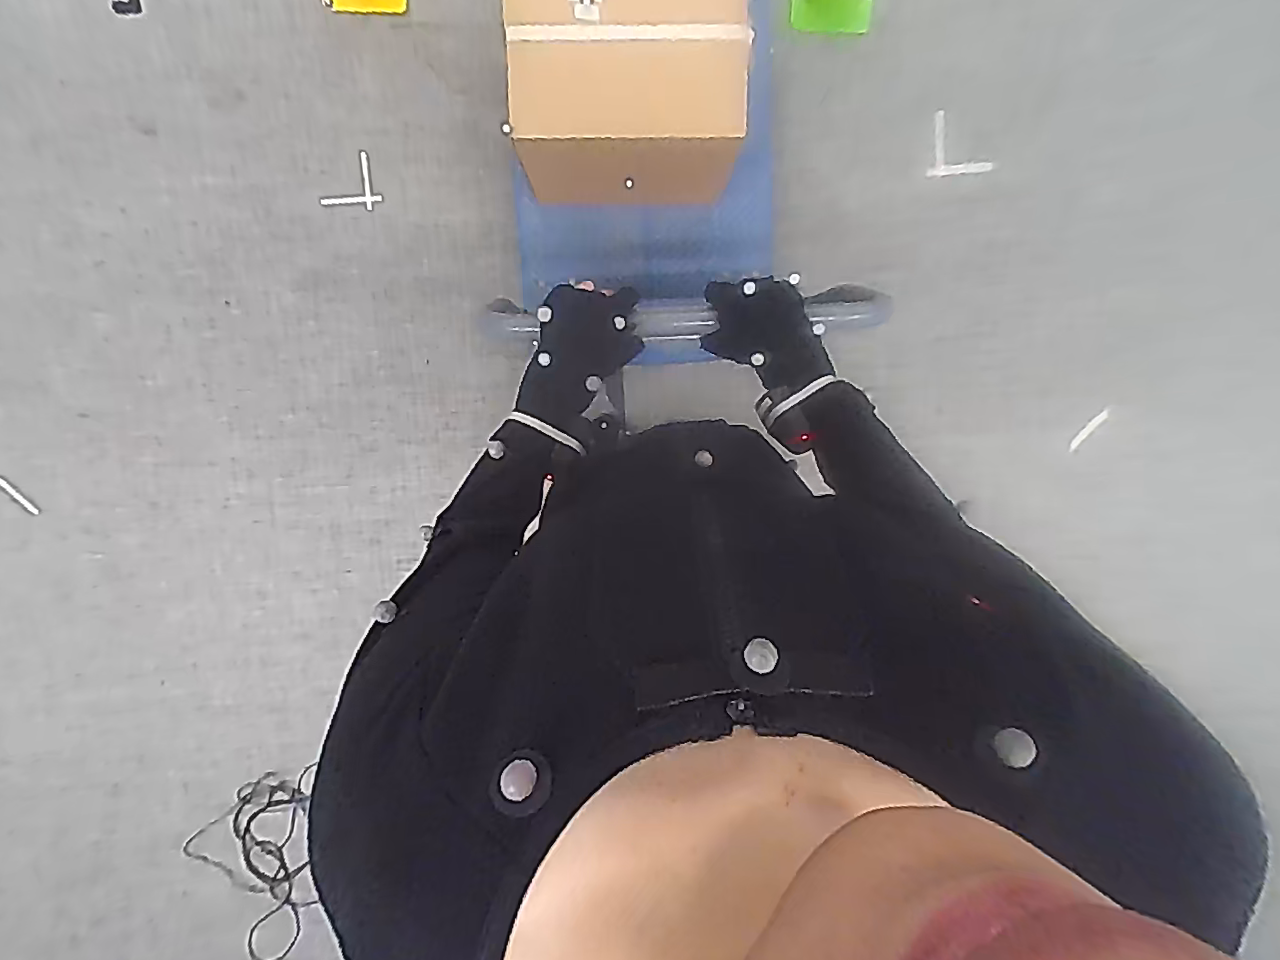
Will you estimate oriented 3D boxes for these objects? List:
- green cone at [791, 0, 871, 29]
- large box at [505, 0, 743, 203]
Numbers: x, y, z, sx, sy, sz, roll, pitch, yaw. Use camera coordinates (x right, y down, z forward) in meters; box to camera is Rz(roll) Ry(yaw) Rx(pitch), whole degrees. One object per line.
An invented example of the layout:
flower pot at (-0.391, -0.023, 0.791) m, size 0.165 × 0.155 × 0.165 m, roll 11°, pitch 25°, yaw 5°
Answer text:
green cone at (0.479, -1.194, 1.152) m, size 0.202 × 0.368 × 0.200 m, roll 1°, pitch 98°, yaw -3°
large box at (-0.025, -0.756, 1.054) m, size 0.408 × 0.320 × 0.320 m, roll -1°, pitch 98°, yaw 0°
